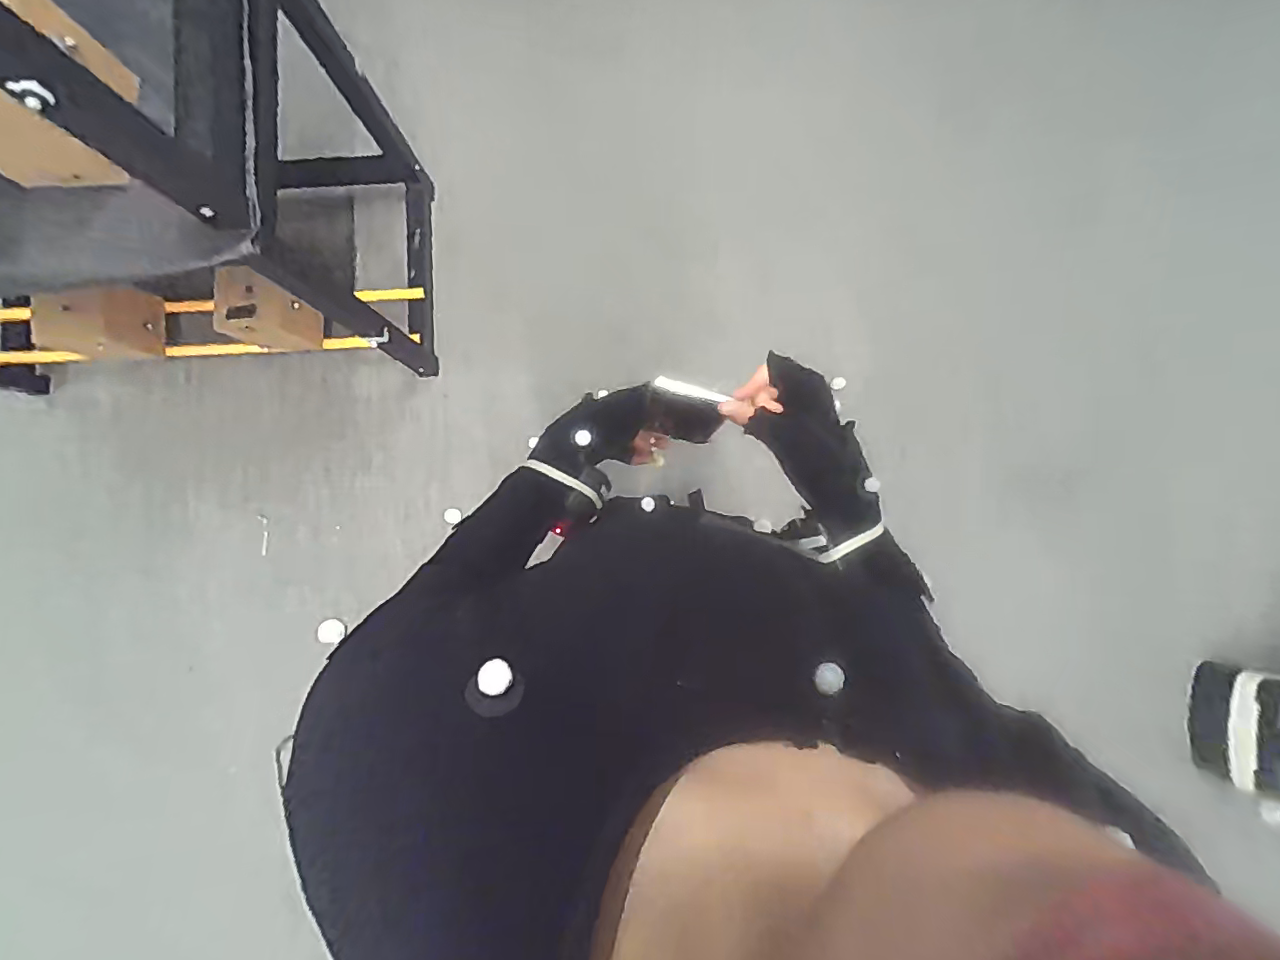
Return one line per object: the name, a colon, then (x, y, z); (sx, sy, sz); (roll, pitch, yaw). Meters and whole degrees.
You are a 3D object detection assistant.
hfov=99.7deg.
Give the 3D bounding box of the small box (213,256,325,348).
small box: (-0.917, -0.437, 1.349); (0.168, 0.176, 0.179); (1, 86, 1)
